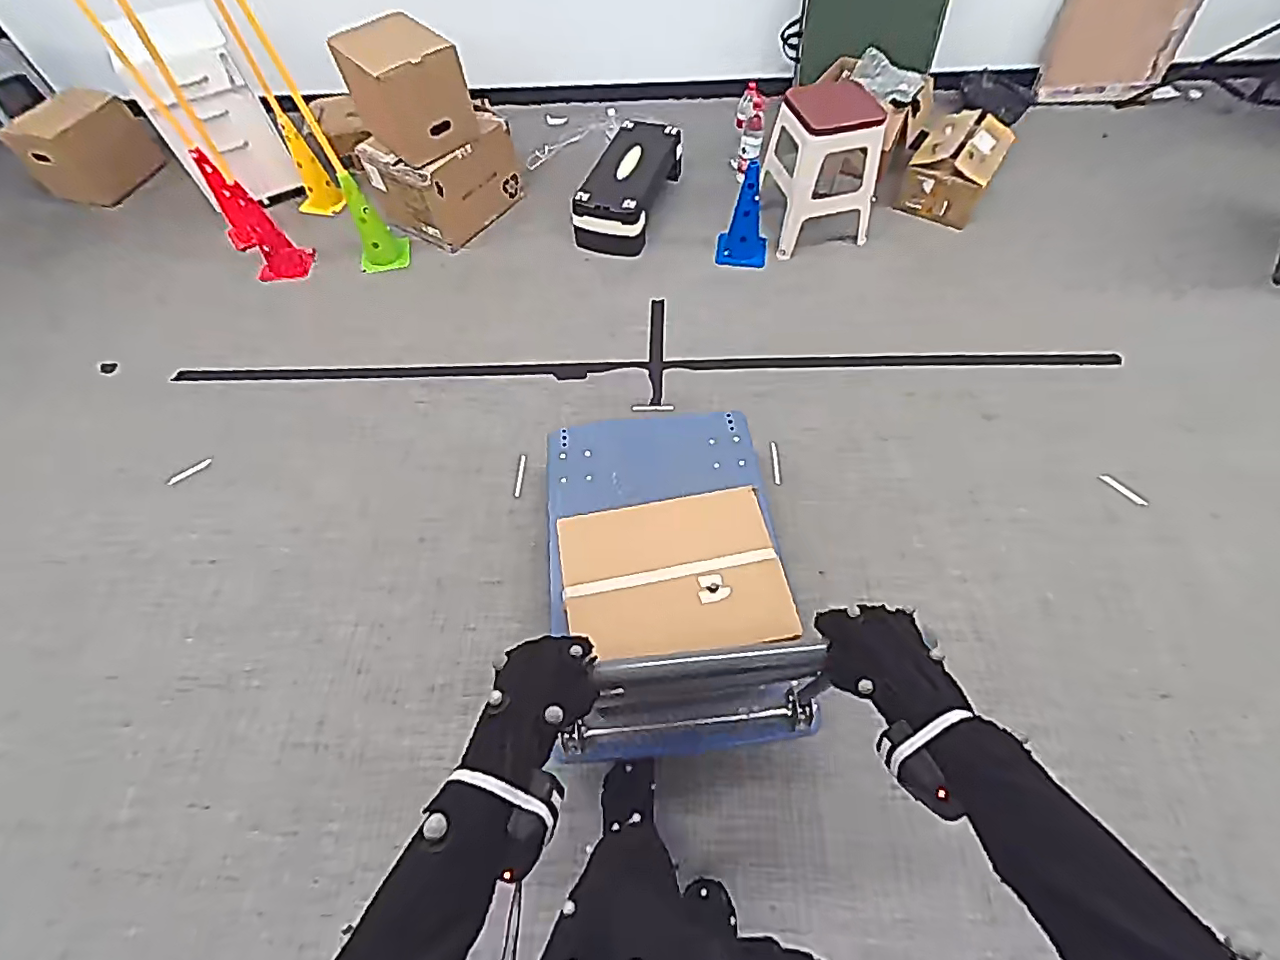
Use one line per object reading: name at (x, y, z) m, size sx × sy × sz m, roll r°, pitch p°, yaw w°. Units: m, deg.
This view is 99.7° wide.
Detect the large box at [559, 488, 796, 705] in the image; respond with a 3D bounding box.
large box at (0.061, 0.256, 1.156) m, size 0.408 × 0.320 × 0.320 m, roll -10°, pitch 59°, yaw -5°
